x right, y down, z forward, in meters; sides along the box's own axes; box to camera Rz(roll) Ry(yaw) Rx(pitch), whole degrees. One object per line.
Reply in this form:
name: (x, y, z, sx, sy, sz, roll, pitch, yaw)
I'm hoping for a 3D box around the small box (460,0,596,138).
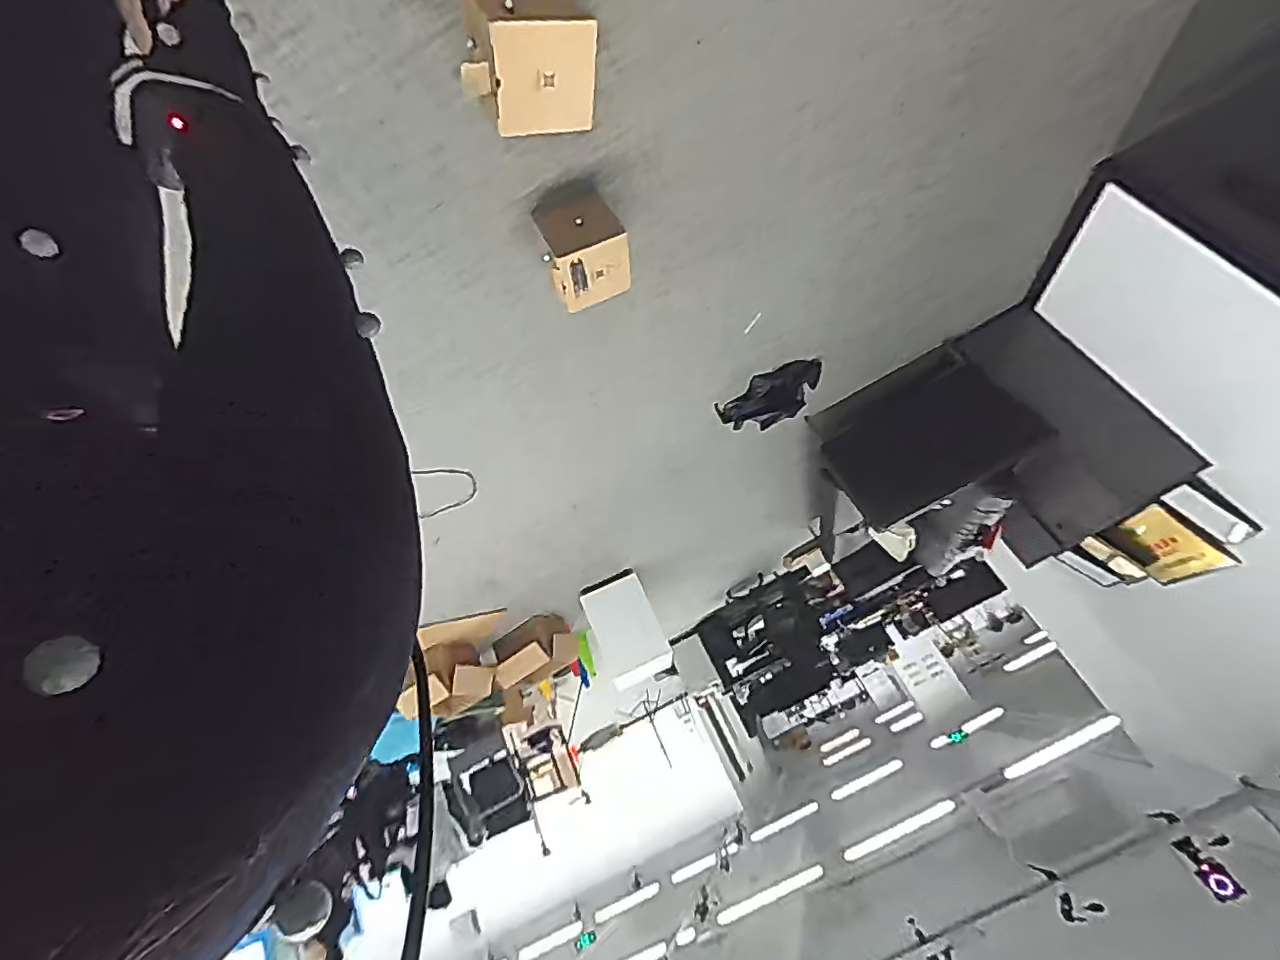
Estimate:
small box: (-0.192, -0.721, 0.925, 0.179, 0.176, 0.168, -18, 153, -19)
